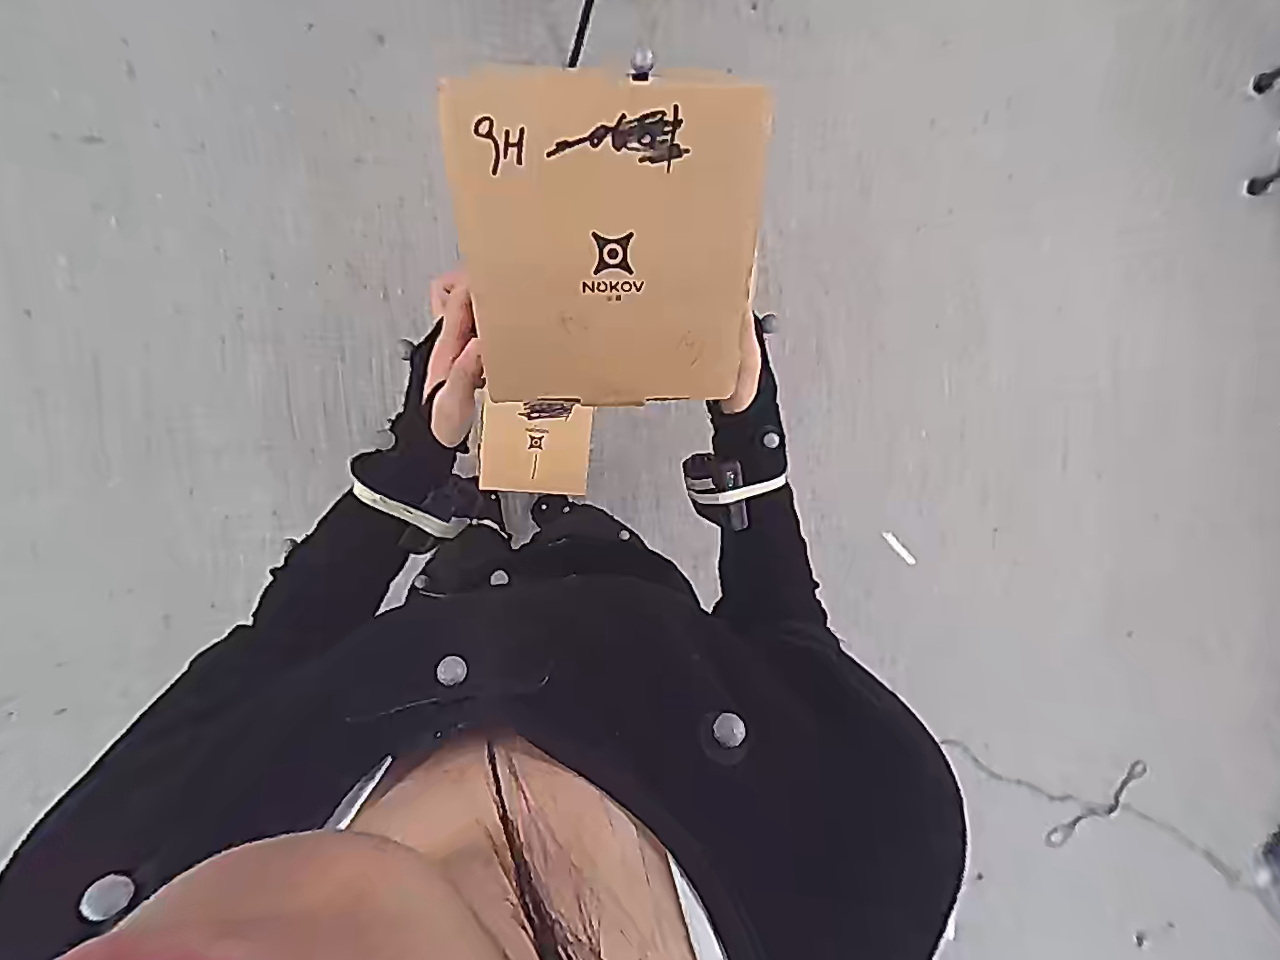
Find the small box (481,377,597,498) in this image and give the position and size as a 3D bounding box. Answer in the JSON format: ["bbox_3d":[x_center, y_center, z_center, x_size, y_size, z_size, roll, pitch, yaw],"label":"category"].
[{"bbox_3d":[-0.172,-0.069,0.918,0.168,0.176,0.179,5,93,-12],"label":"small box"}]
